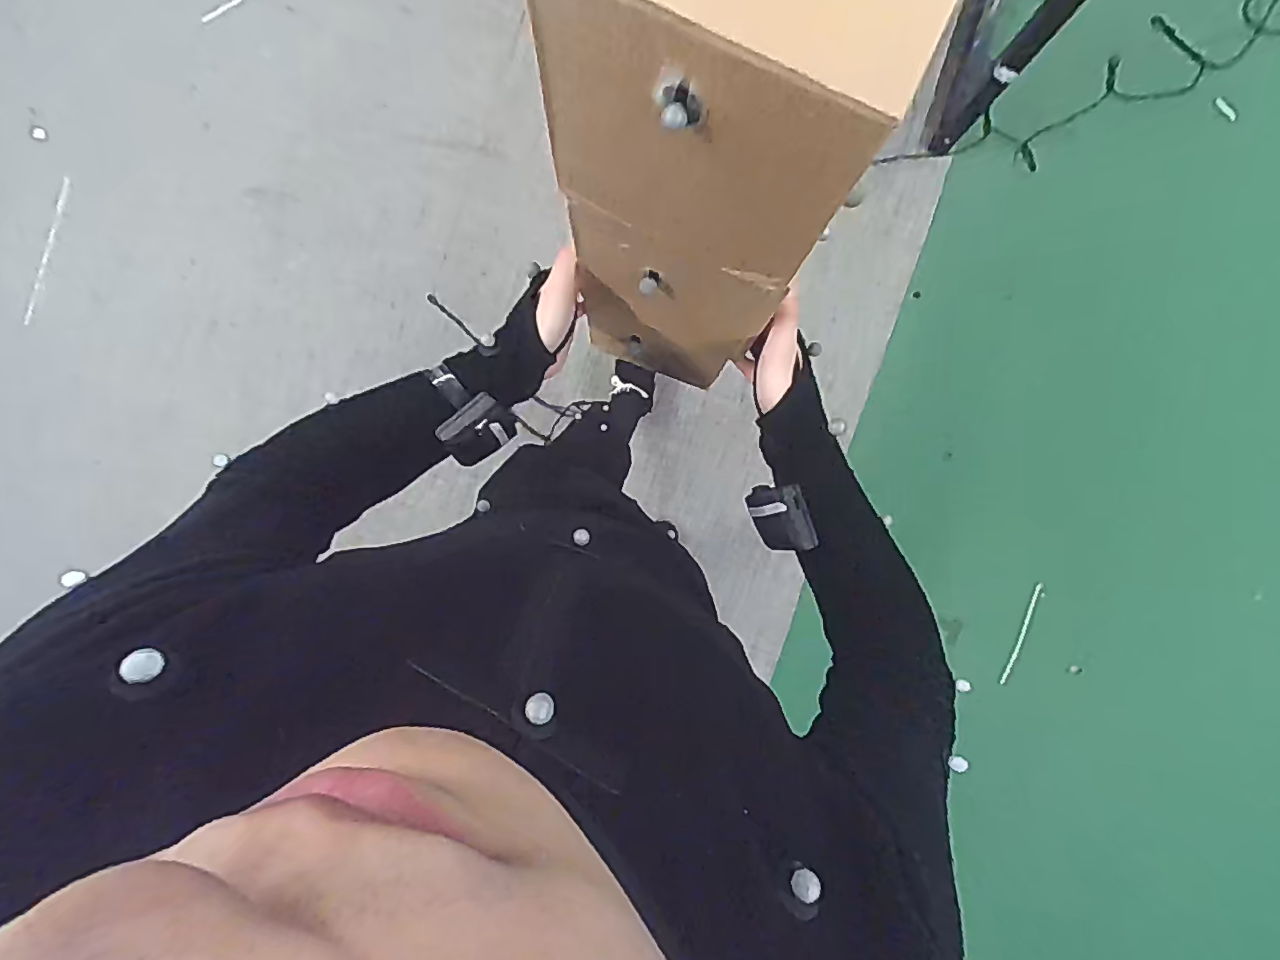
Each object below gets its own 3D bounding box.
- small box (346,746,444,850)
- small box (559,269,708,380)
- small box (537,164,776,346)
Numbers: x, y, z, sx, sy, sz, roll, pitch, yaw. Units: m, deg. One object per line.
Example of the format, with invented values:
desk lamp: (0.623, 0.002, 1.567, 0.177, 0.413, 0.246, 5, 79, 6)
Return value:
small box: (-0.696, 0.918, 1.565, 0.168, 0.176, 0.179, 41, 93, -1)
small box: (0.023, -0.234, 0.615, 0.168, 0.176, 0.179, 22, 85, -2)
small box: (0.037, -0.234, 0.451, 0.179, 0.176, 0.168, 24, 85, -1)
